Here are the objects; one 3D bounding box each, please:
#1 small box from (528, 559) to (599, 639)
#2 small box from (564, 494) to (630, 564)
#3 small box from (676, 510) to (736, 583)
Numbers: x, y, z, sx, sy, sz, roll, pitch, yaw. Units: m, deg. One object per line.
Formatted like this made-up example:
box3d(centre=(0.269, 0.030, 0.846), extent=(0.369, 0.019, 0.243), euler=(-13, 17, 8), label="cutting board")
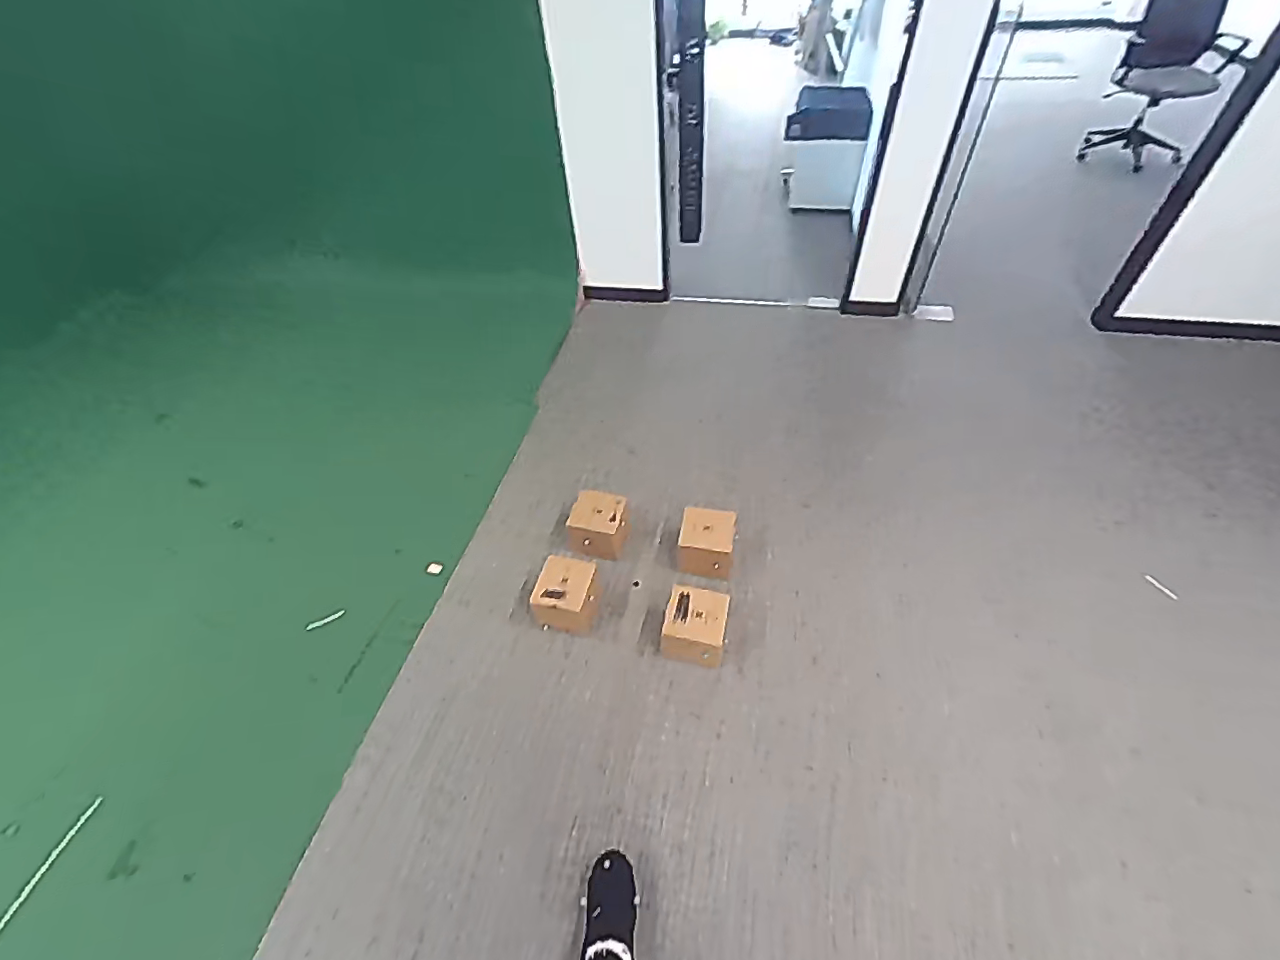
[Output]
box3d(centre=(-0.234, 0.380, 1.712), extent=(0.168, 0.176, 0.179), euler=(9, 48, 11), label="small box")
box3d(centre=(-0.144, 0.174, 1.894), extent=(0.179, 0.176, 0.168), euler=(9, 49, 13), label="small box")
box3d(centre=(0.223, 0.227, 1.820), extent=(0.179, 0.176, 0.168), euler=(7, 48, 11), label="small box")
